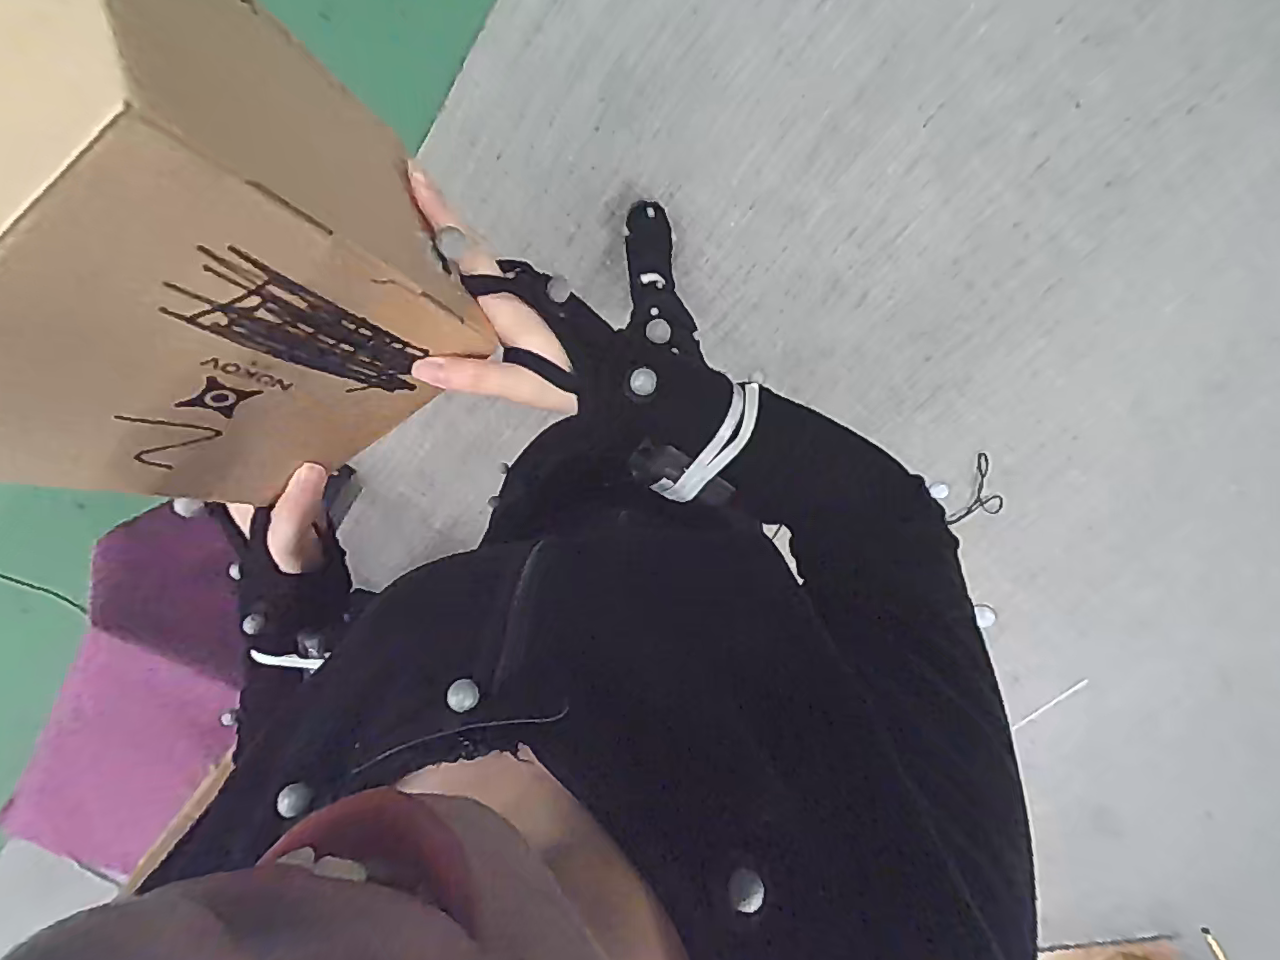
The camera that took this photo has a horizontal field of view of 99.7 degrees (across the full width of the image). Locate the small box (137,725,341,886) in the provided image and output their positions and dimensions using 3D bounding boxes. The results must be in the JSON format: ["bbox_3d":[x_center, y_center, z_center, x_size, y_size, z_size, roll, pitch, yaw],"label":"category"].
[{"bbox_3d":[-0.634,0.541,0.880,0.179,0.176,0.168,41,108,-16],"label":"small box"}]

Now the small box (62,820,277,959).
[{"bbox_3d":[-0.638,0.606,0.729,0.168,0.176,0.179,38,108,-15],"label":"small box"}]
